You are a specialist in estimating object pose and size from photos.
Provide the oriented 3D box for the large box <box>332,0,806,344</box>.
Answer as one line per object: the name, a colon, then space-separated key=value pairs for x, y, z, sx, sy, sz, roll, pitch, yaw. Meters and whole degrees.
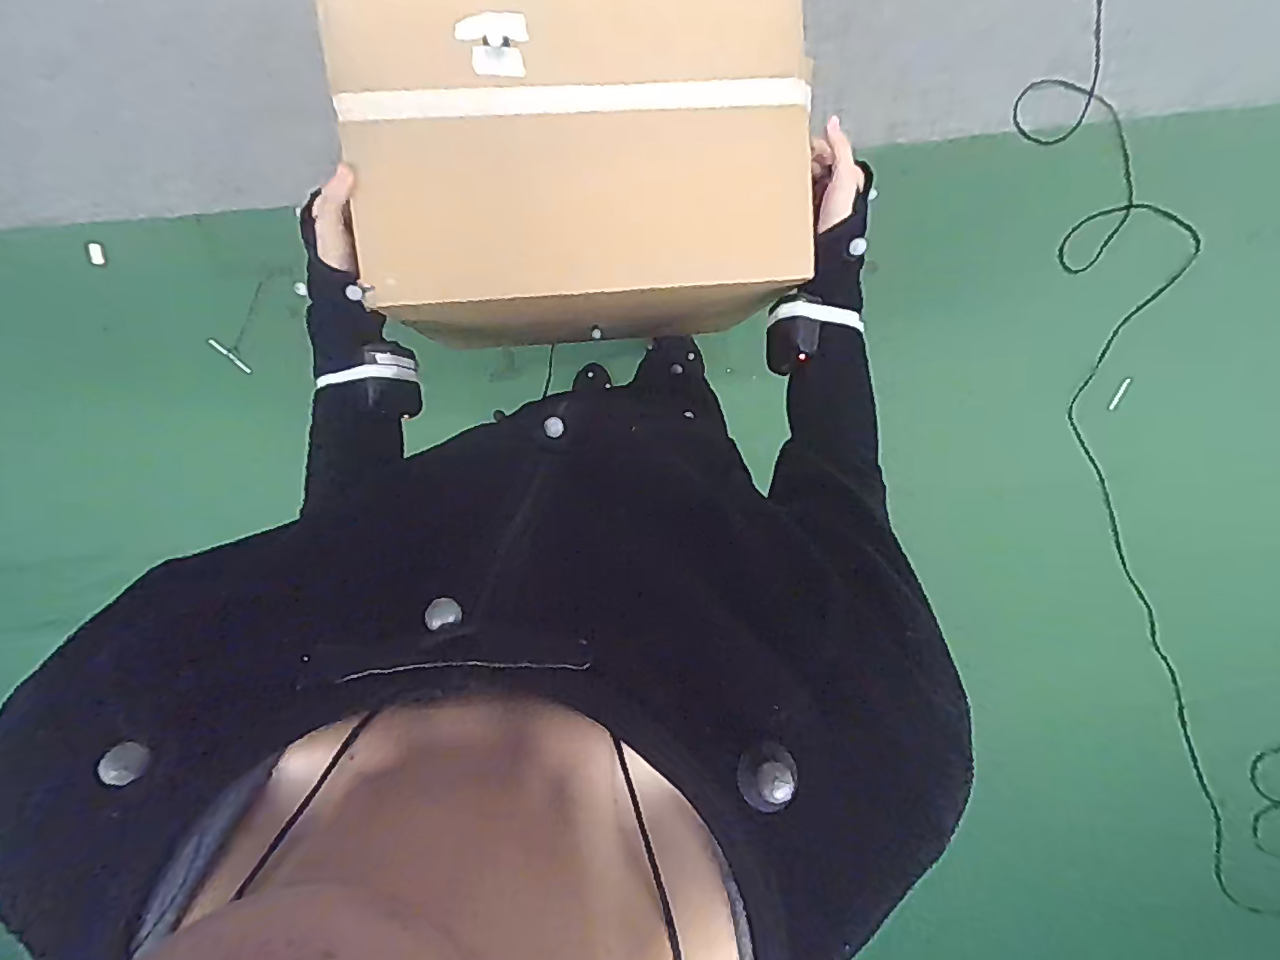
large box: x=-0.064 y=-0.343 z=0.627 sx=0.408 sy=0.320 sz=0.320 roll=-6 pitch=97 yaw=-5
